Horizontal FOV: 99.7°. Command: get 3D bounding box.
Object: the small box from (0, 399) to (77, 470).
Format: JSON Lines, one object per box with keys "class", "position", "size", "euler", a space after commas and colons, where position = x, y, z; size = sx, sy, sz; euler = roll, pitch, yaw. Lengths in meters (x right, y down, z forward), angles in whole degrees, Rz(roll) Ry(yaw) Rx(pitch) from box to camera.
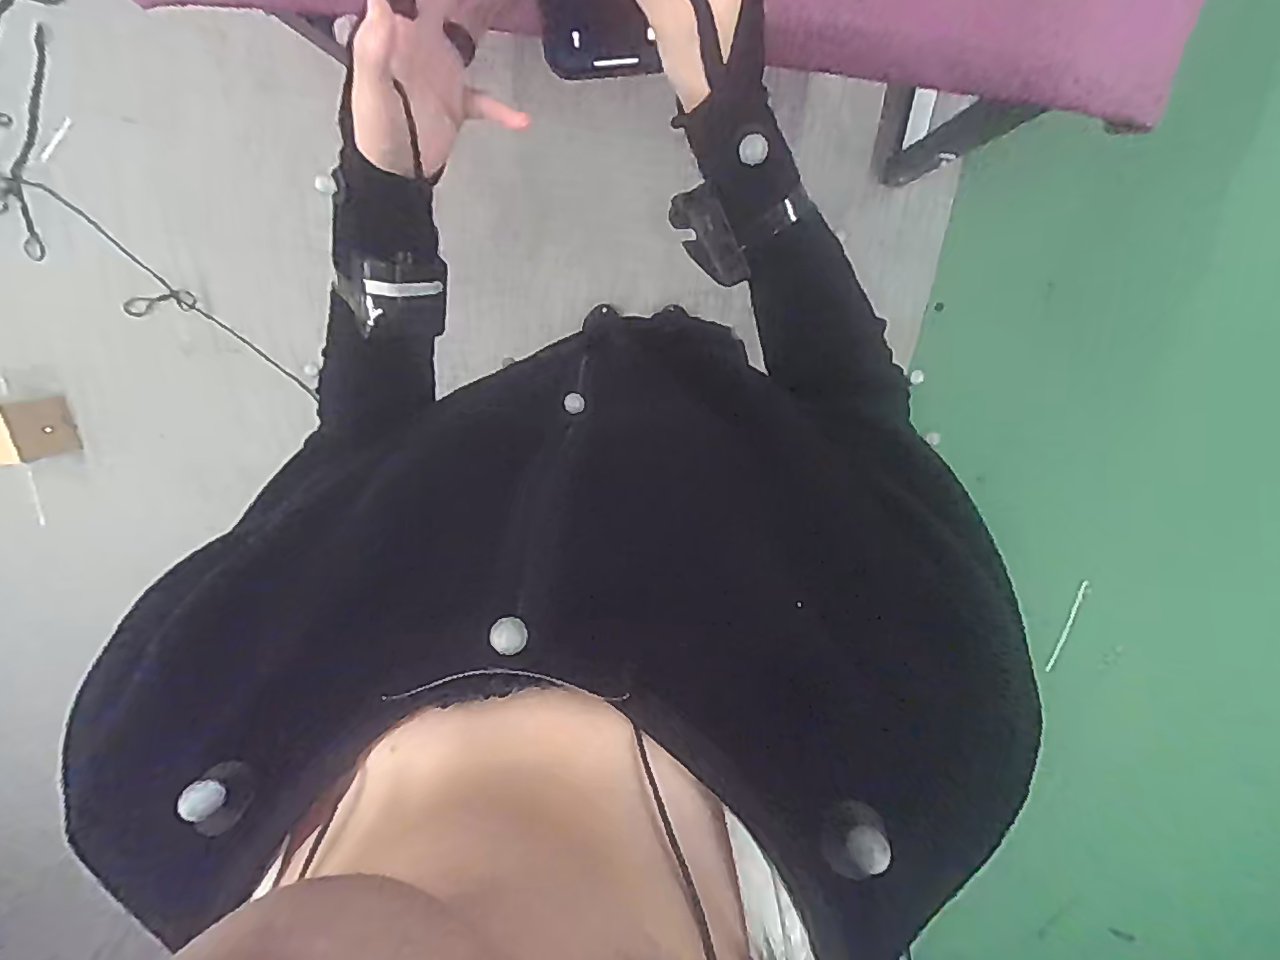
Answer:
{"class": "small box", "position": [-1.739, -0.131, 1.507], "size": [0.179, 0.176, 0.168], "euler": [0, 108, 3]}
